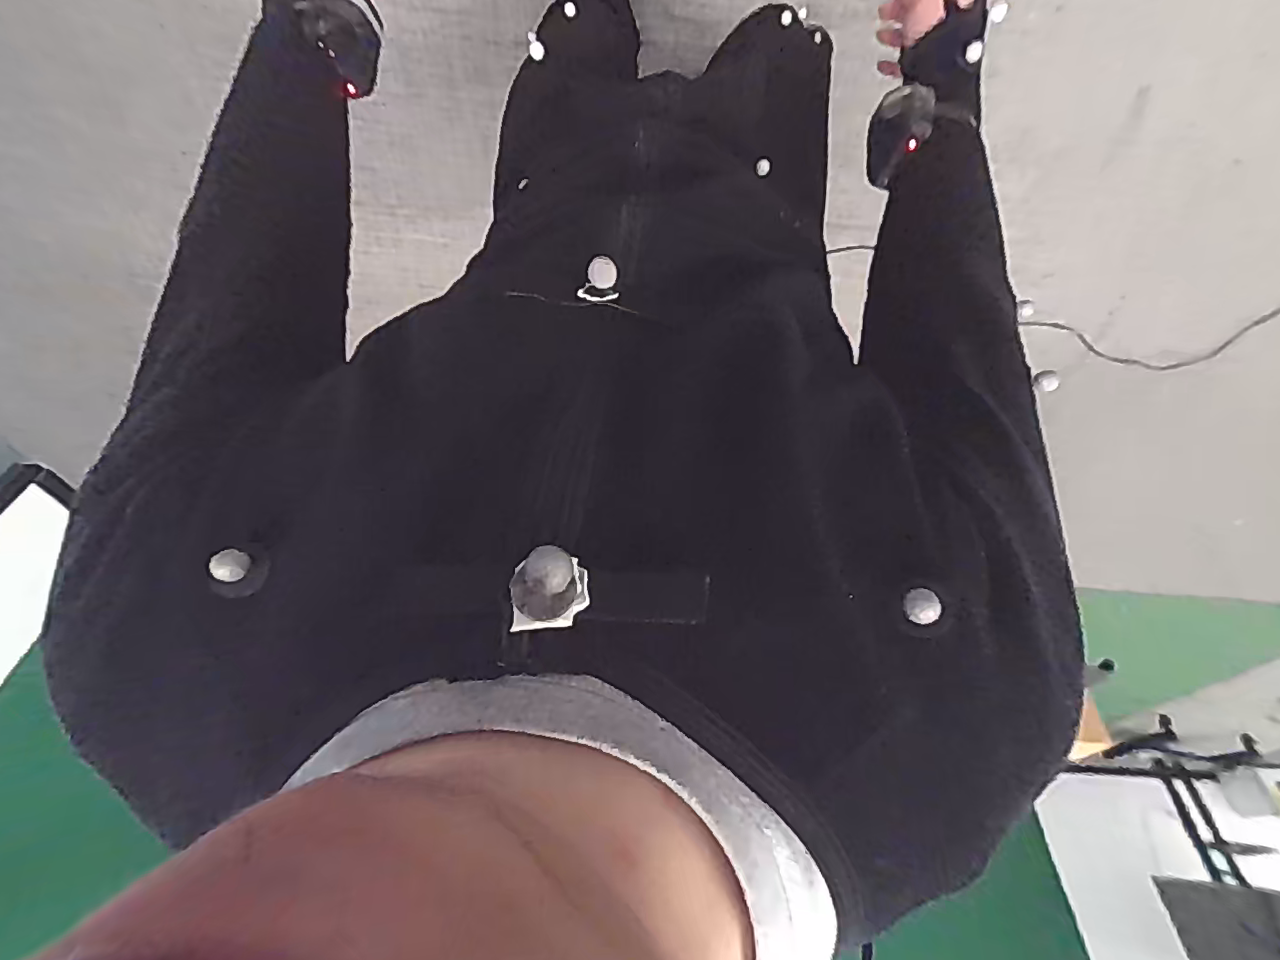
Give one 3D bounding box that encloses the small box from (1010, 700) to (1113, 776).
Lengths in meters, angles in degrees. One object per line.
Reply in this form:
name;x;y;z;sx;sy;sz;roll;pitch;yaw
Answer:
small box;1.302;0.807;1.689;0.168;0.176;0.179;4;139;0
